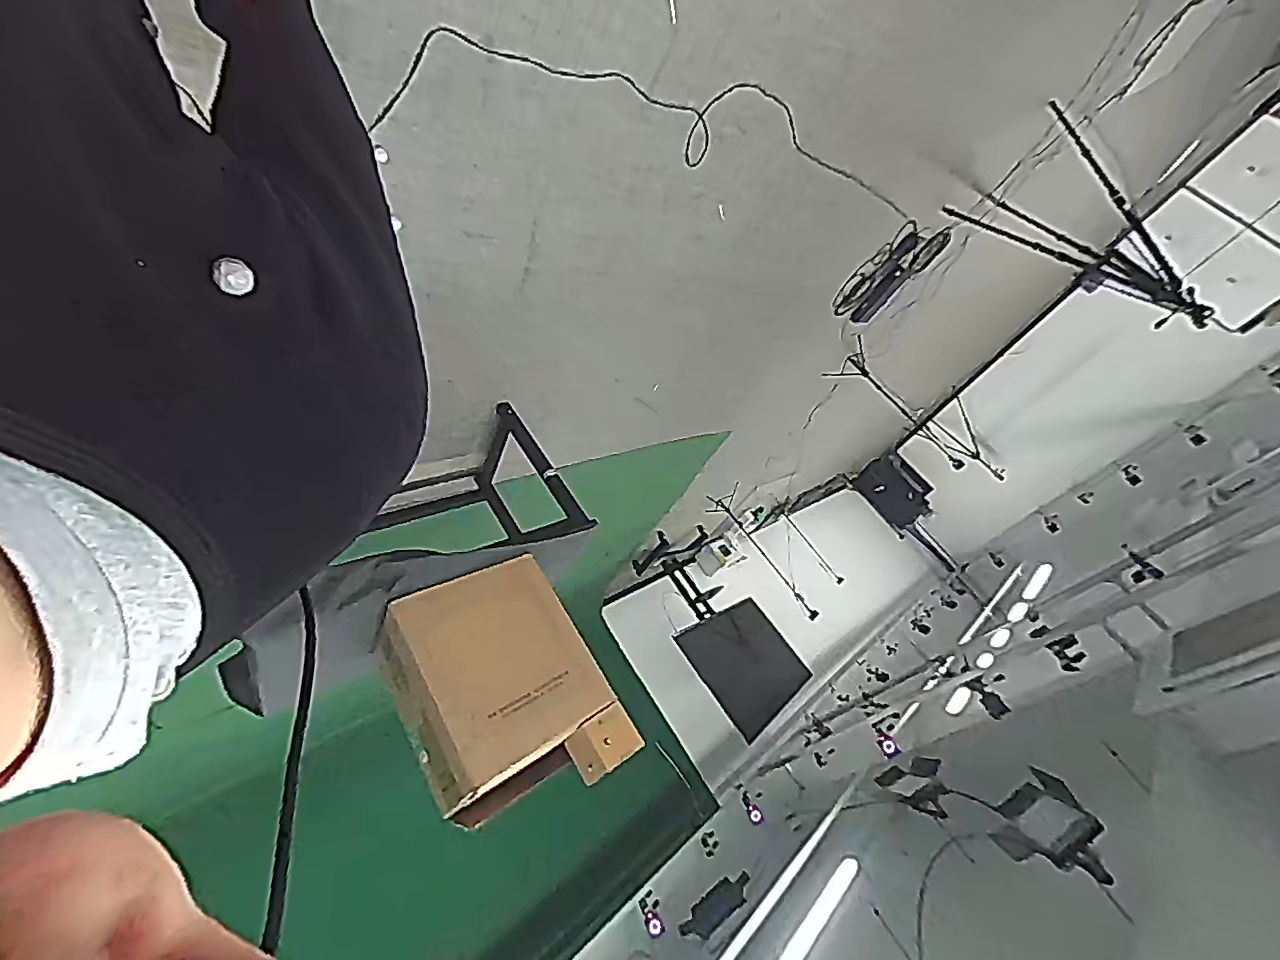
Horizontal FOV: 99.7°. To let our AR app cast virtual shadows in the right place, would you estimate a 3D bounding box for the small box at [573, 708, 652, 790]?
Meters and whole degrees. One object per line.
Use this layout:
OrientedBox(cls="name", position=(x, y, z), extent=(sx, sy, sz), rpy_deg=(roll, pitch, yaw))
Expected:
OrientedBox(cls="small box", position=(-0.098, 0.893, 1.810), extent=(0.168, 0.176, 0.179), rpy_deg=(-16, 151, -42))
